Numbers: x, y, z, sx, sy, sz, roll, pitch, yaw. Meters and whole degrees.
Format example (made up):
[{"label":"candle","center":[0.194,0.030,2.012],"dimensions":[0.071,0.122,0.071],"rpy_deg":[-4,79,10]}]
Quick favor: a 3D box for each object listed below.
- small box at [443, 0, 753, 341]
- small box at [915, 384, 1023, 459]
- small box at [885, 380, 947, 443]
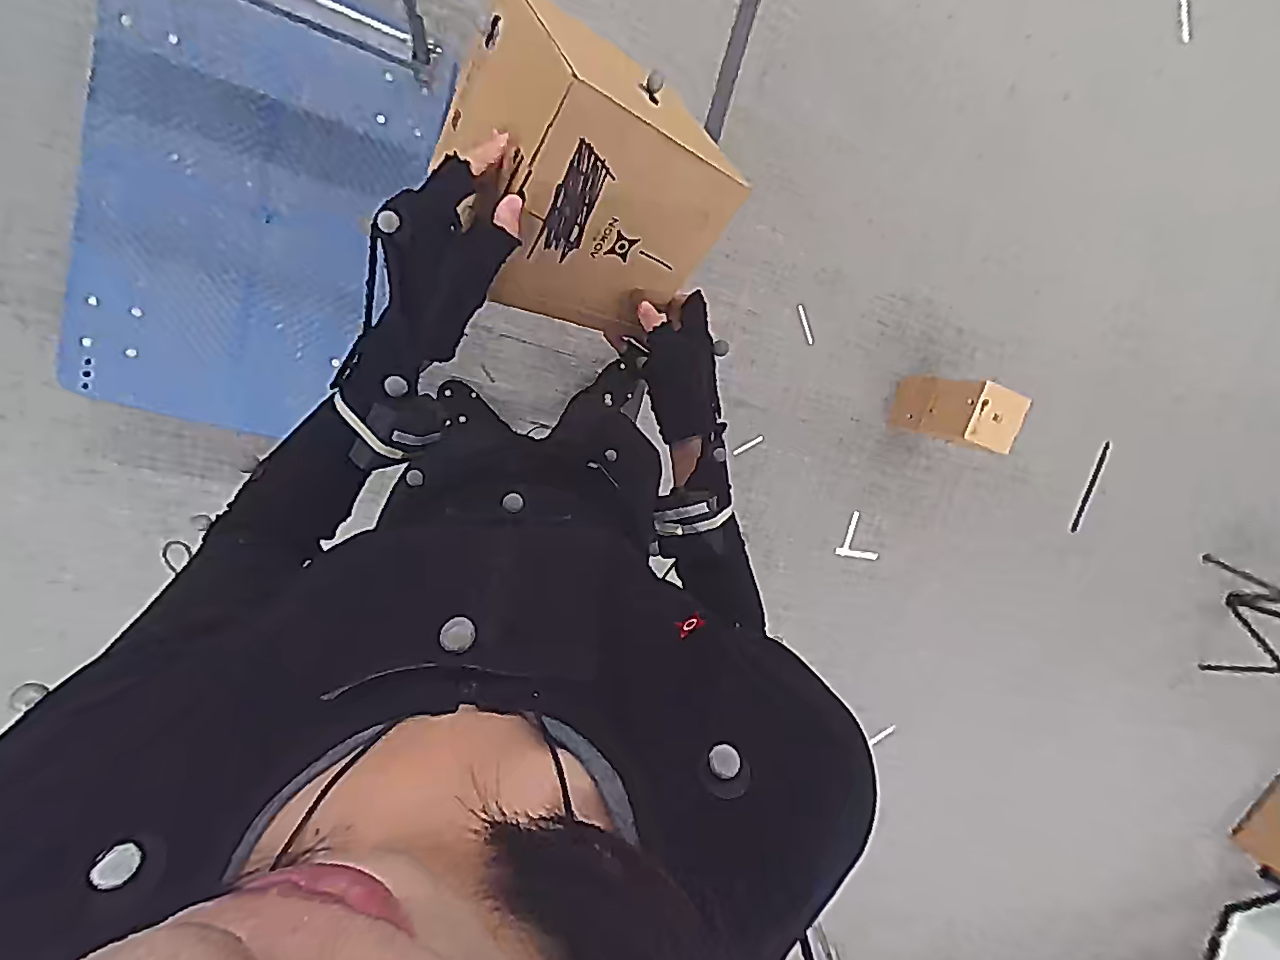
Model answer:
[{"label":"small box","center":[-0.046,-0.252,0.460],"dimensions":[0.179,0.176,0.168],"rpy_deg":[4,142,-43]},{"label":"small box","center":[0.943,-0.174,1.562],"dimensions":[0.179,0.176,0.168],"rpy_deg":[16,98,-20]},{"label":"small box","center":[0.914,-0.215,1.718],"dimensions":[0.168,0.176,0.179],"rpy_deg":[10,99,-18]}]
